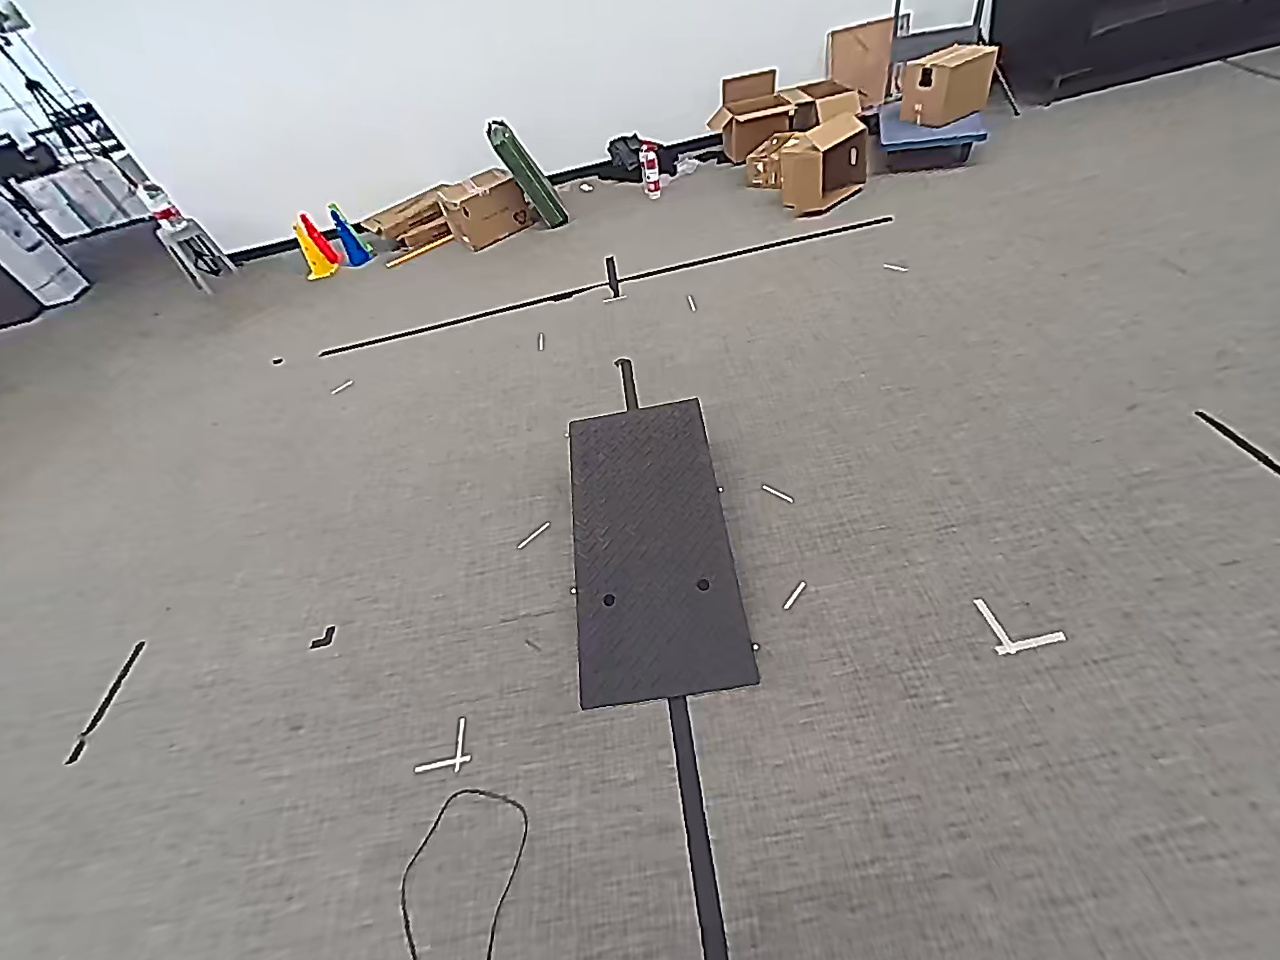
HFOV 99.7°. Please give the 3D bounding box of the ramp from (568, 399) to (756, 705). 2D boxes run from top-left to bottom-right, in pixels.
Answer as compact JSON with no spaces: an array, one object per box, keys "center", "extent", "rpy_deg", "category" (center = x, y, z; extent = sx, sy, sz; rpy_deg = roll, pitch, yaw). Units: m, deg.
[{"center":[0.025,0.161,1.727],"extent":[0.509,0.206,0.991],"rpy_deg":[-11,47,3],"category":"ramp"}]
